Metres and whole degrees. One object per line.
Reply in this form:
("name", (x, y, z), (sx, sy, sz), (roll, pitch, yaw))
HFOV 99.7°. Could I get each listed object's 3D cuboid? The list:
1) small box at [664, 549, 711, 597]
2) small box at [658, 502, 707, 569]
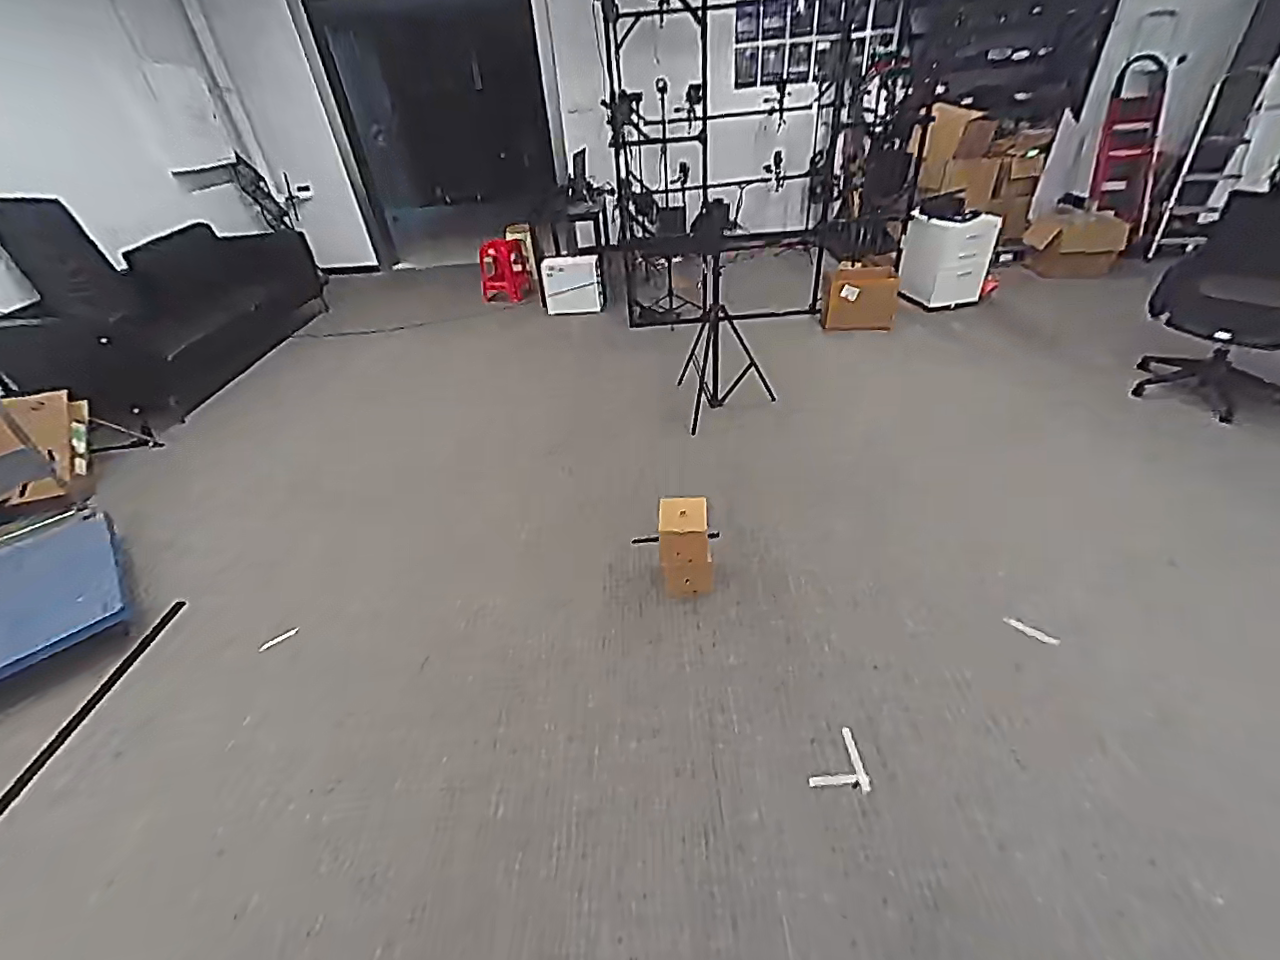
("small box", (0.172, 0.323, 2.014), (0.168, 0.176, 0.179), (-5, 35, 0))
("small box", (0.153, 0.194, 1.915), (0.168, 0.176, 0.179), (-1, 37, 6))
